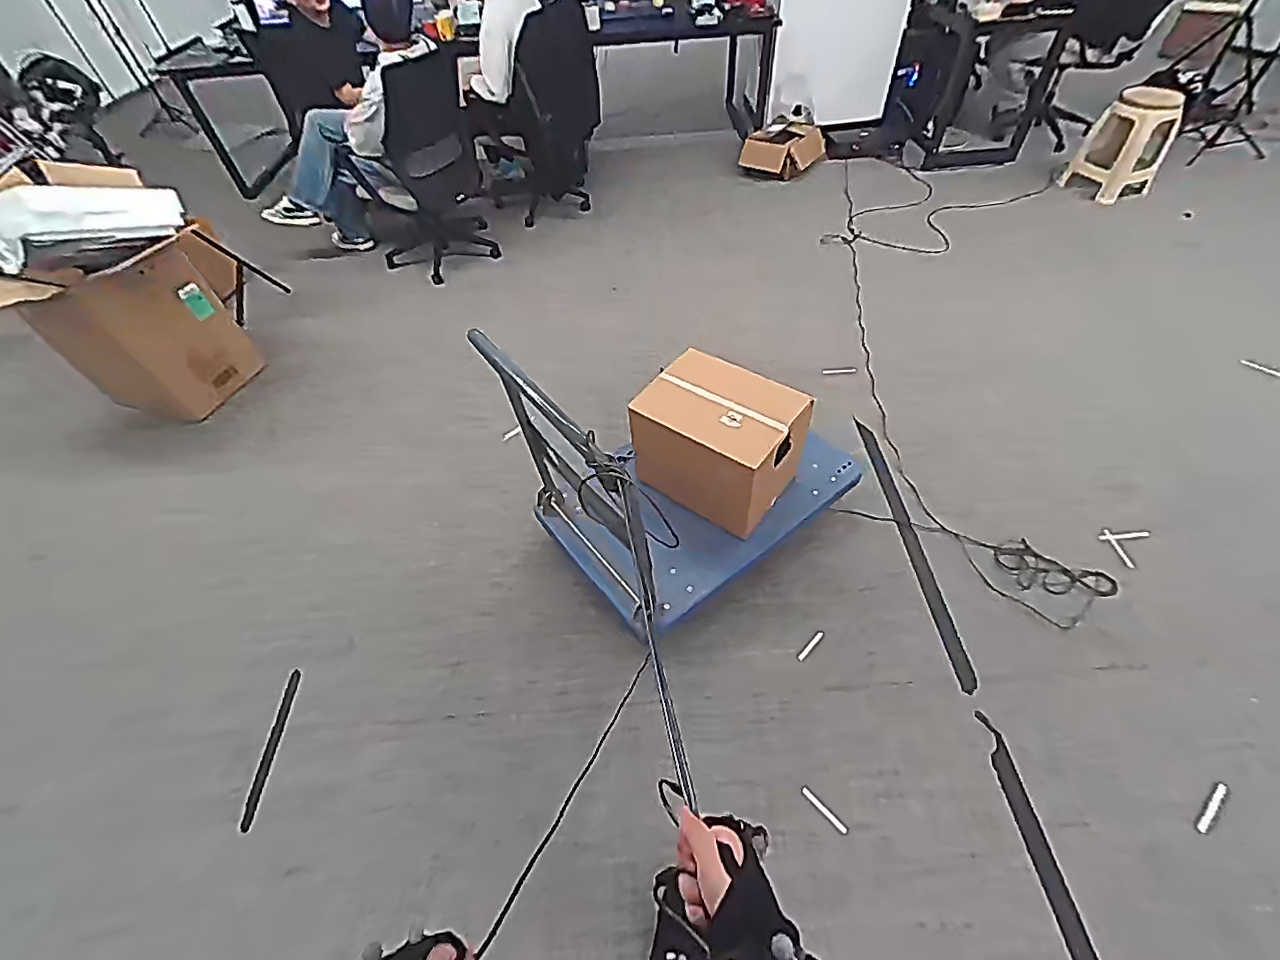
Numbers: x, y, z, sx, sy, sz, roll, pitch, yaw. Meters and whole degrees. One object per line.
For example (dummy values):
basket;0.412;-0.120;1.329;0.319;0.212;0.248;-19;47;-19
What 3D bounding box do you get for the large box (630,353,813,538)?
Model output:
large box;0.223;-0.105;1.571;0.408;0.320;0.320;30;59;25
